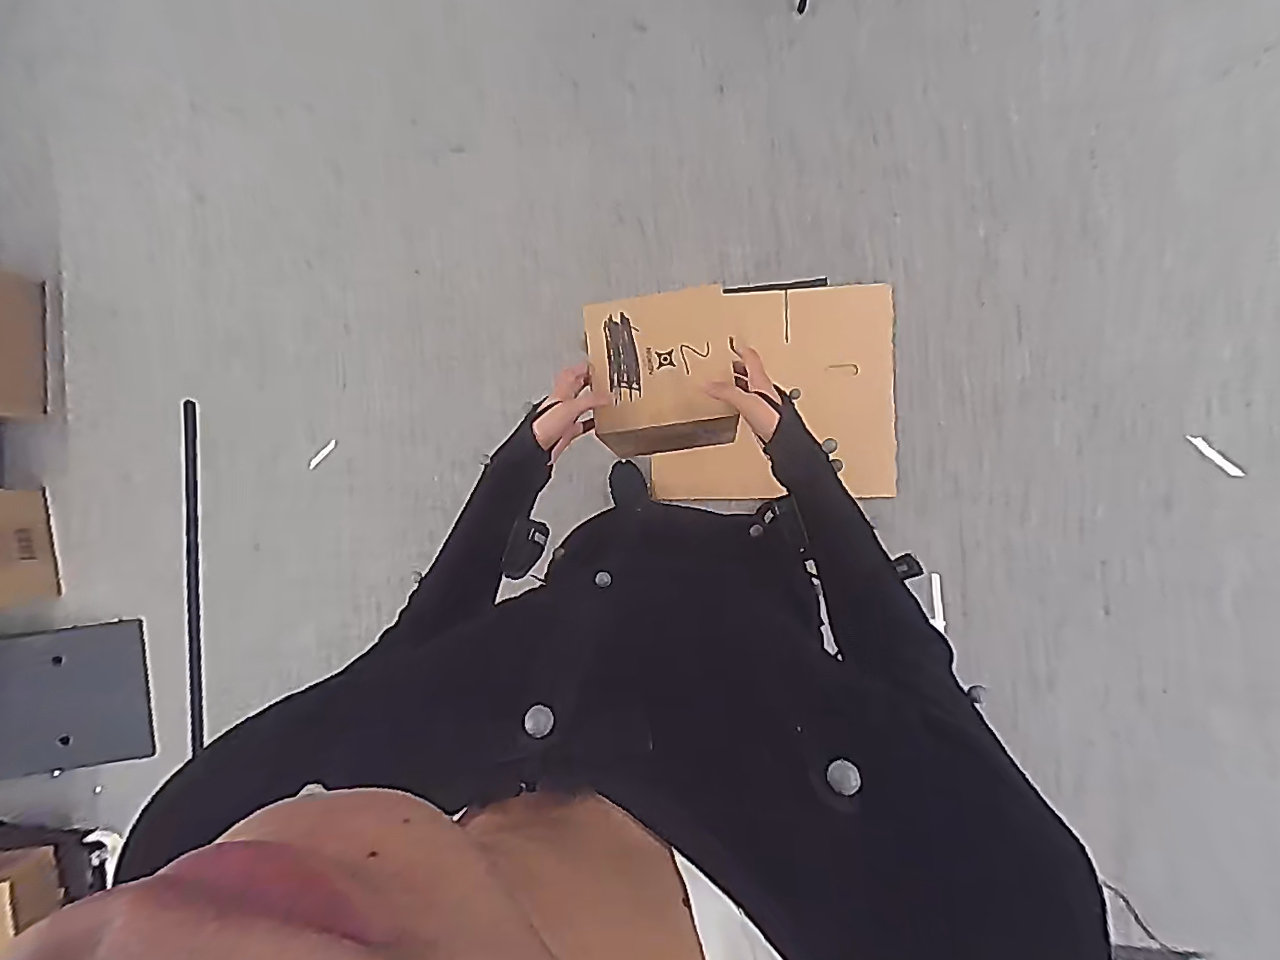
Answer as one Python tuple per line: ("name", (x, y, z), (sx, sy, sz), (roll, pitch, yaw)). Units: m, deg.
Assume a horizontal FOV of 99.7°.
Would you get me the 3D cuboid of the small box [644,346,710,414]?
("small box", (0.109, -0.280, 1.542), (0.179, 0.176, 0.168), (-1, 90, 10))
